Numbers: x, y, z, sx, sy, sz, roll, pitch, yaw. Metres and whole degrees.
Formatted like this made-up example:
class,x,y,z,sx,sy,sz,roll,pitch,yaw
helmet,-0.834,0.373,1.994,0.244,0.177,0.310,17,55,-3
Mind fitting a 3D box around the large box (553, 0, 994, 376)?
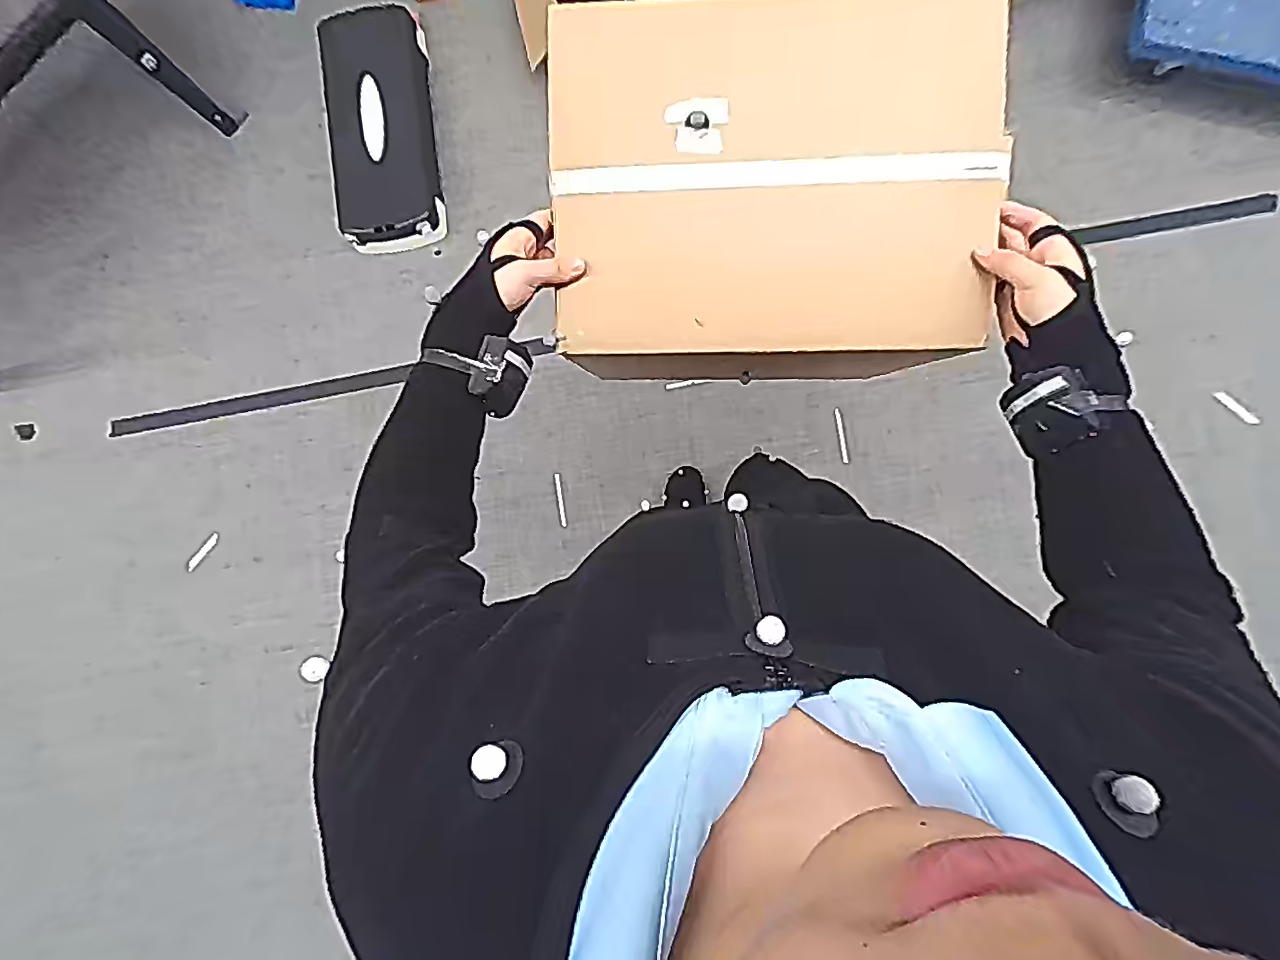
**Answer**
class,x,y,z,sx,sy,sz,roll,pitch,yaw
large box,0.132,-0.297,0.653,0.408,0.320,0.320,0,94,5
